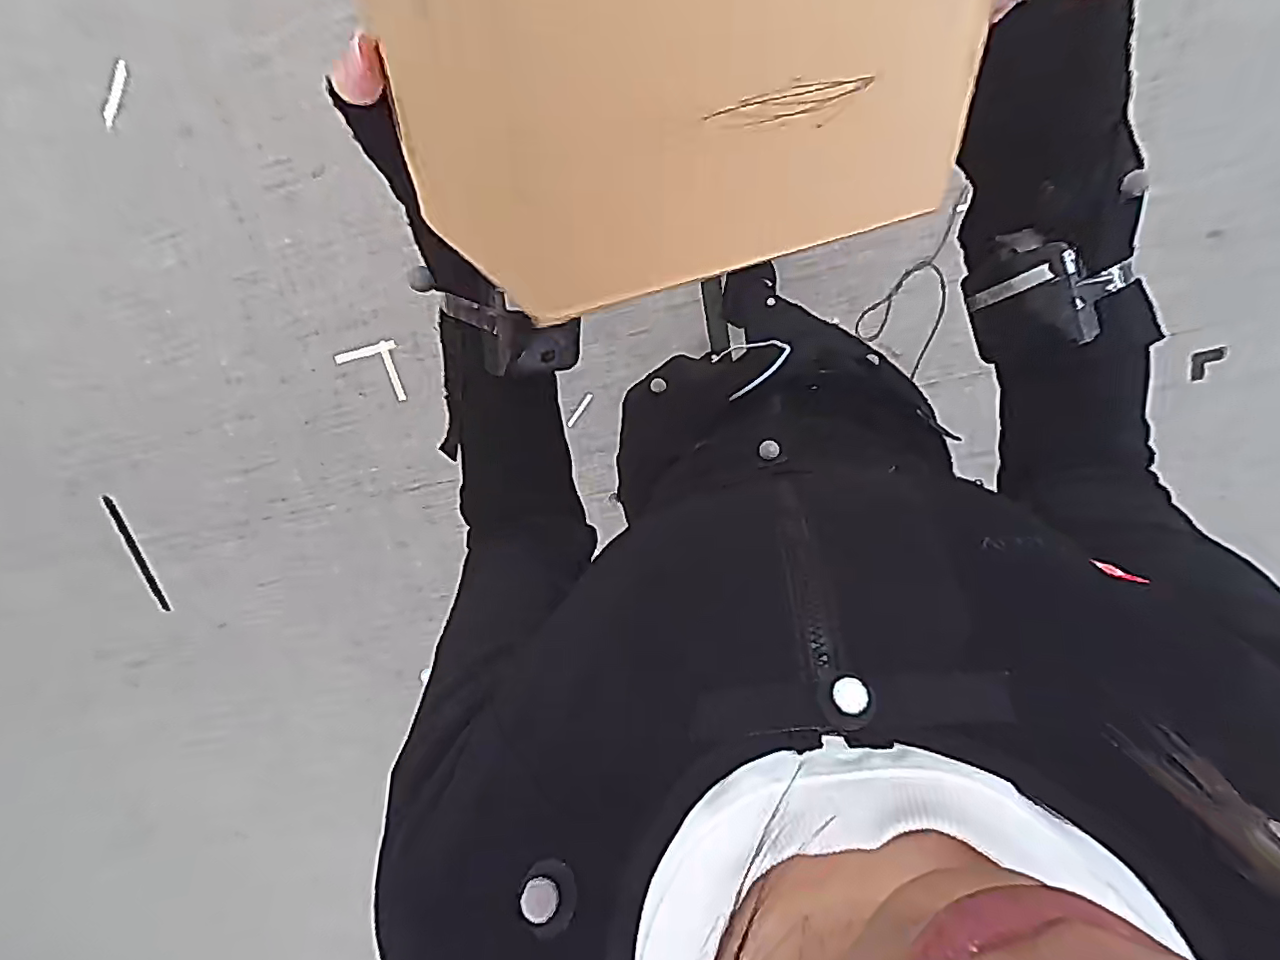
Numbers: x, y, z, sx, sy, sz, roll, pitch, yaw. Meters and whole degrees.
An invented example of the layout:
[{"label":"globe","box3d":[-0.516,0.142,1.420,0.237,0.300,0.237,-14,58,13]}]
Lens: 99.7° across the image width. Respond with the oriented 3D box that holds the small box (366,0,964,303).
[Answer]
[{"label":"small box","box3d":[-0.005,-0.189,0.197,0.168,0.176,0.179,-23,132,-21]}]
